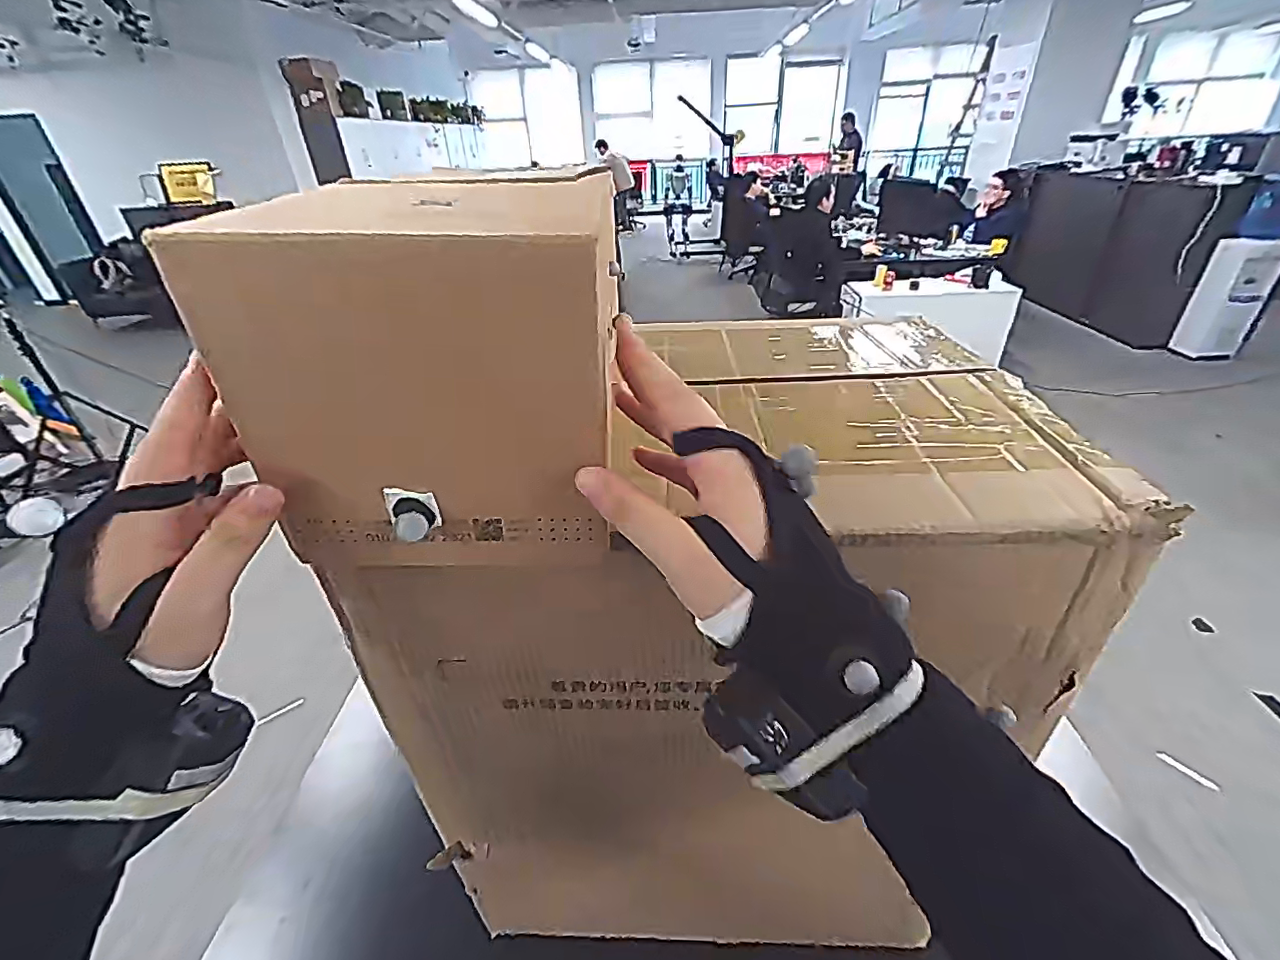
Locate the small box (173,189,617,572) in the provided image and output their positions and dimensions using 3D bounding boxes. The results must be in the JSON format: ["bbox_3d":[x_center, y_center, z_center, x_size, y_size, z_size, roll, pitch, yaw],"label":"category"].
[{"bbox_3d":[-0.100,-0.067,0.319,0.168,0.176,0.179,-2,35,-2],"label":"small box"}]

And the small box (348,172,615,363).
[{"bbox_3d":[-0.115,-0.172,0.480,0.168,0.176,0.179,0,32,5],"label":"small box"}]
